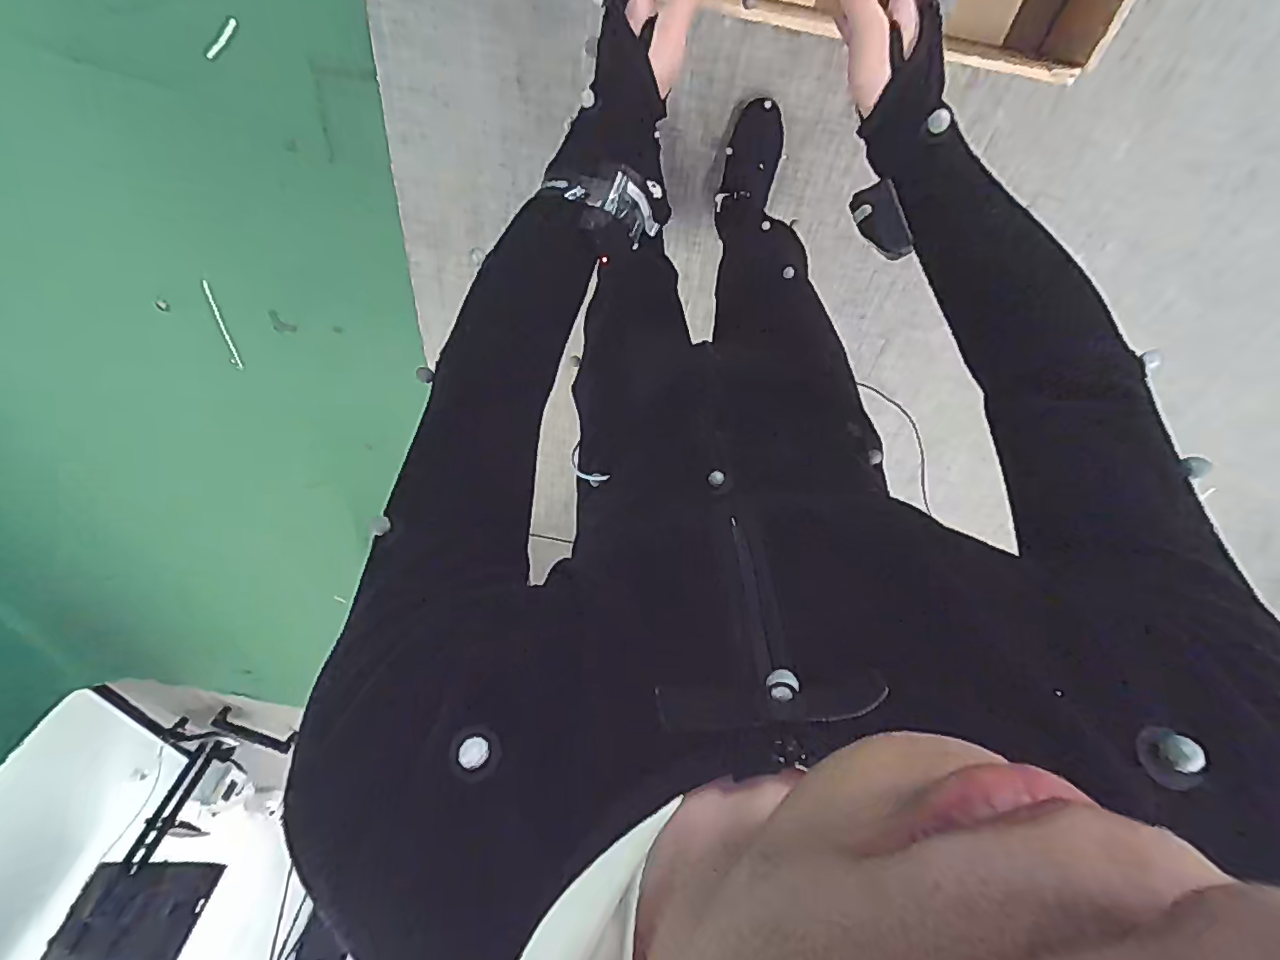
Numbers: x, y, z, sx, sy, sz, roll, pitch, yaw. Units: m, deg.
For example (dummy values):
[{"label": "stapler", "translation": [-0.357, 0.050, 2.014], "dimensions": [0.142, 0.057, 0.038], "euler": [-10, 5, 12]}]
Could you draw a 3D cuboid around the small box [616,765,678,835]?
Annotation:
[{"label": "small box", "translation": [0.029, 1.146, 1.942], "dimensions": [0.179, 0.176, 0.168], "euler": [16, 134, -5]}]
